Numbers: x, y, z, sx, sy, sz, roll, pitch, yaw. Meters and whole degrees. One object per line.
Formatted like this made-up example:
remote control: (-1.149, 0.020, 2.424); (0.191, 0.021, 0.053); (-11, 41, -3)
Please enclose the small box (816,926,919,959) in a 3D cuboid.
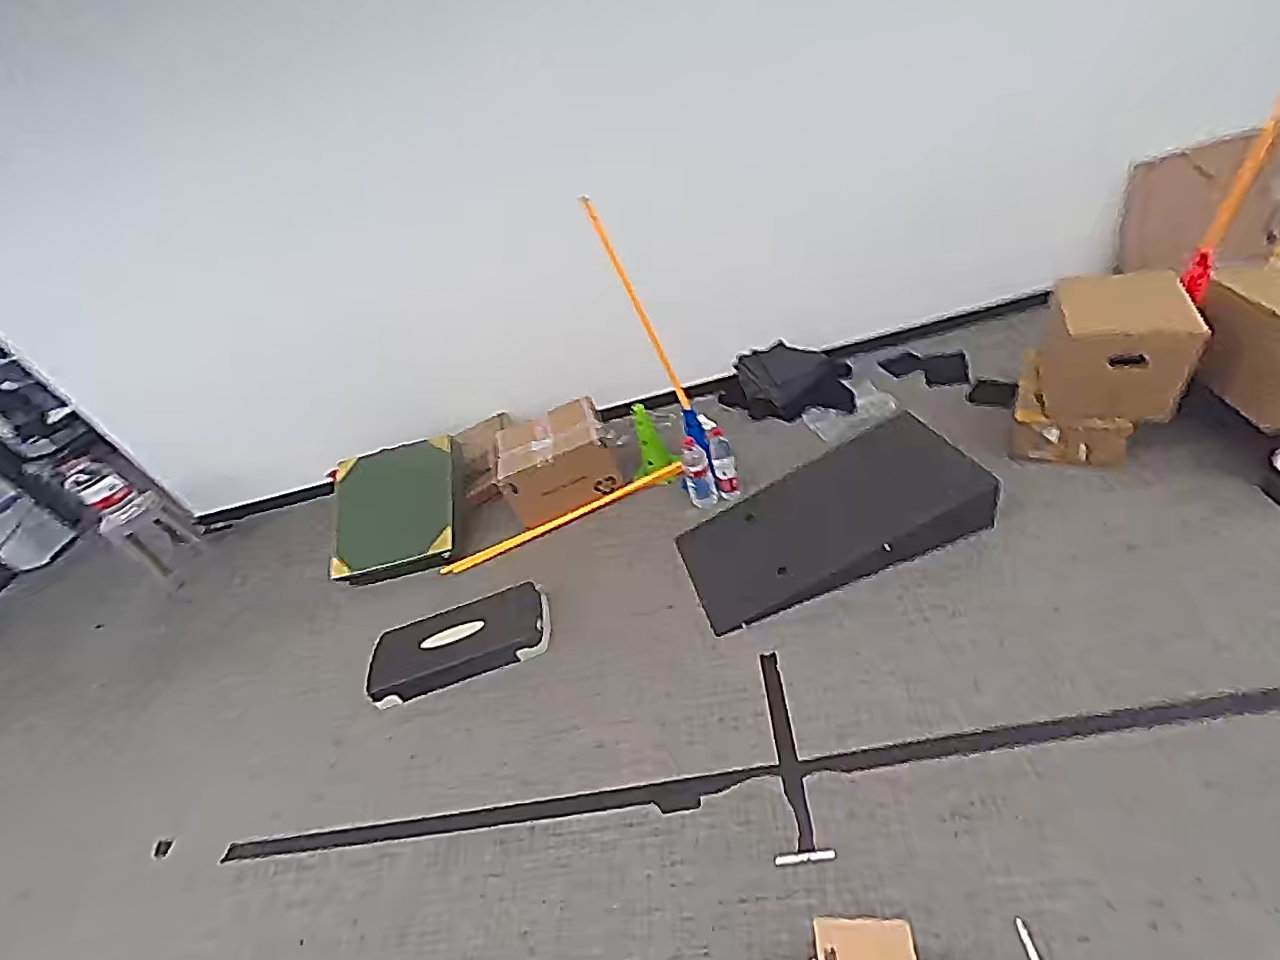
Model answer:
small box: (0.429, 0.951, 0.999); (0.179, 0.176, 0.168); (-9, 39, 14)
